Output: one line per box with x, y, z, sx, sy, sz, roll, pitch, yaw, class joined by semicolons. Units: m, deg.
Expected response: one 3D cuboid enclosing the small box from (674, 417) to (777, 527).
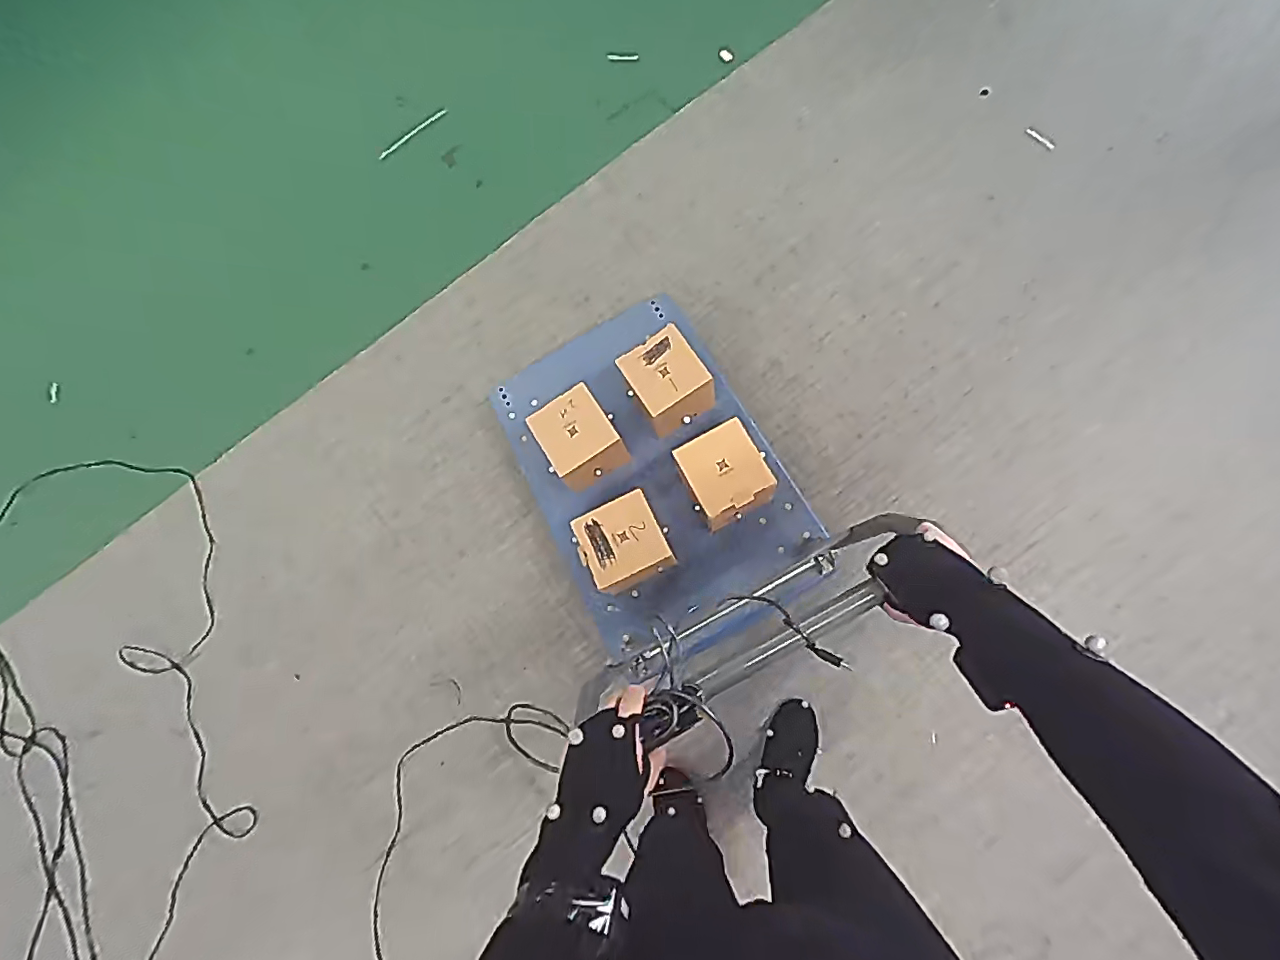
0.192;-0.012;1.245;0.168;0.176;0.179;-28;74;1;small box

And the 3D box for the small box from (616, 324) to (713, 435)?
0.065;-0.237;1.322;0.168;0.176;0.179;-33;74;0;small box

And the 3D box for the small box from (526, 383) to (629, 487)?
-0.145;-0.098;1.319;0.168;0.176;0.179;-33;73;-1;small box
